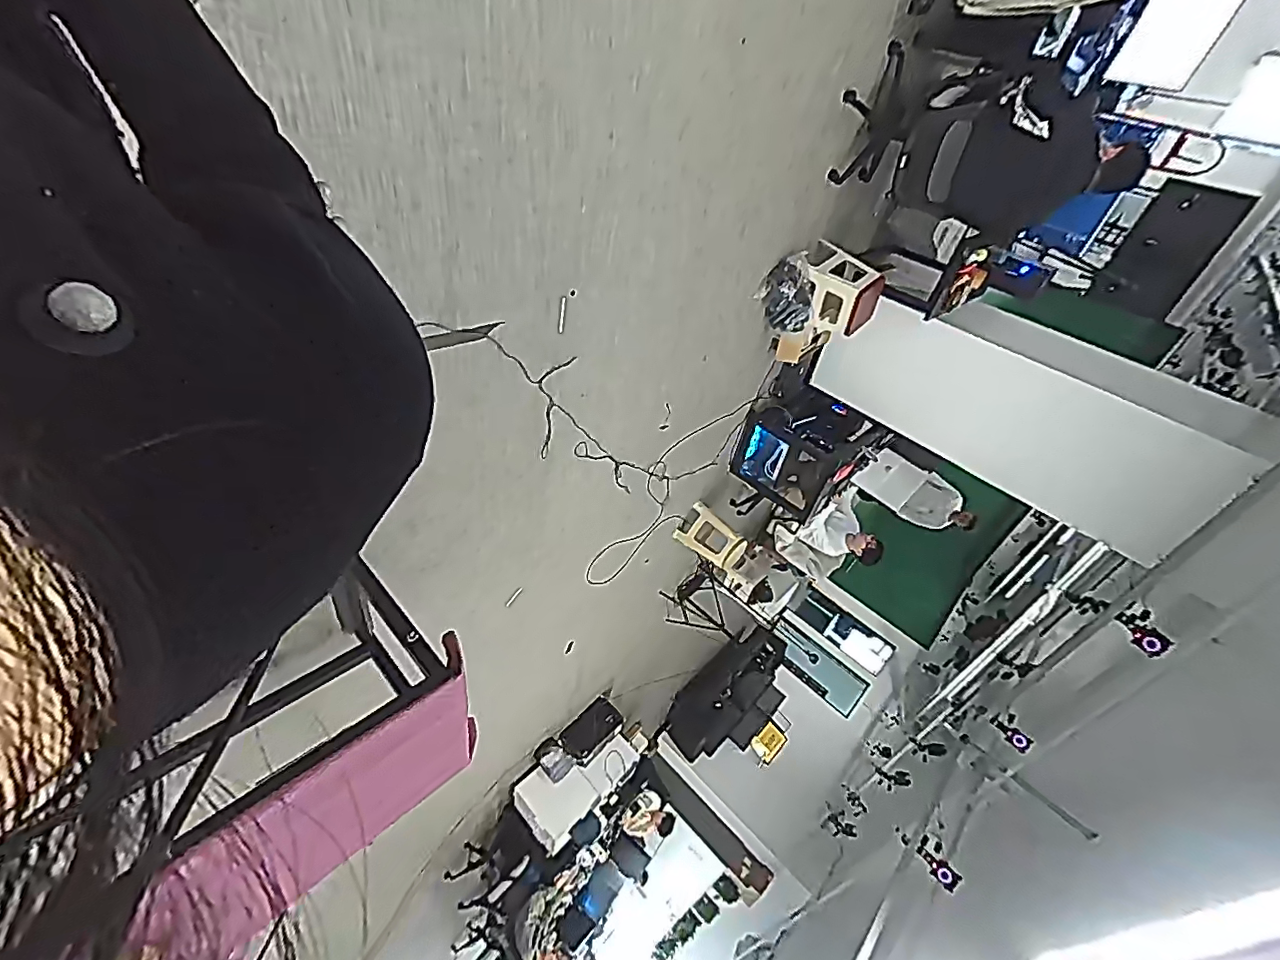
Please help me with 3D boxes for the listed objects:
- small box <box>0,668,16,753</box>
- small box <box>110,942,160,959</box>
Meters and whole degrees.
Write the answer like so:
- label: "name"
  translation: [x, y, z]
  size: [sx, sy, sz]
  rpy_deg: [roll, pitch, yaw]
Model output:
- label: "small box"
  translation: [-1.602, 0.551, 1.253]
  size: [0.179, 0.176, 0.168]
  rpy_deg: [-14, 133, -53]
- label: "small box"
  translation: [-1.094, 1.118, 1.109]
  size: [0.179, 0.176, 0.168]
  rpy_deg: [-28, 145, -41]
